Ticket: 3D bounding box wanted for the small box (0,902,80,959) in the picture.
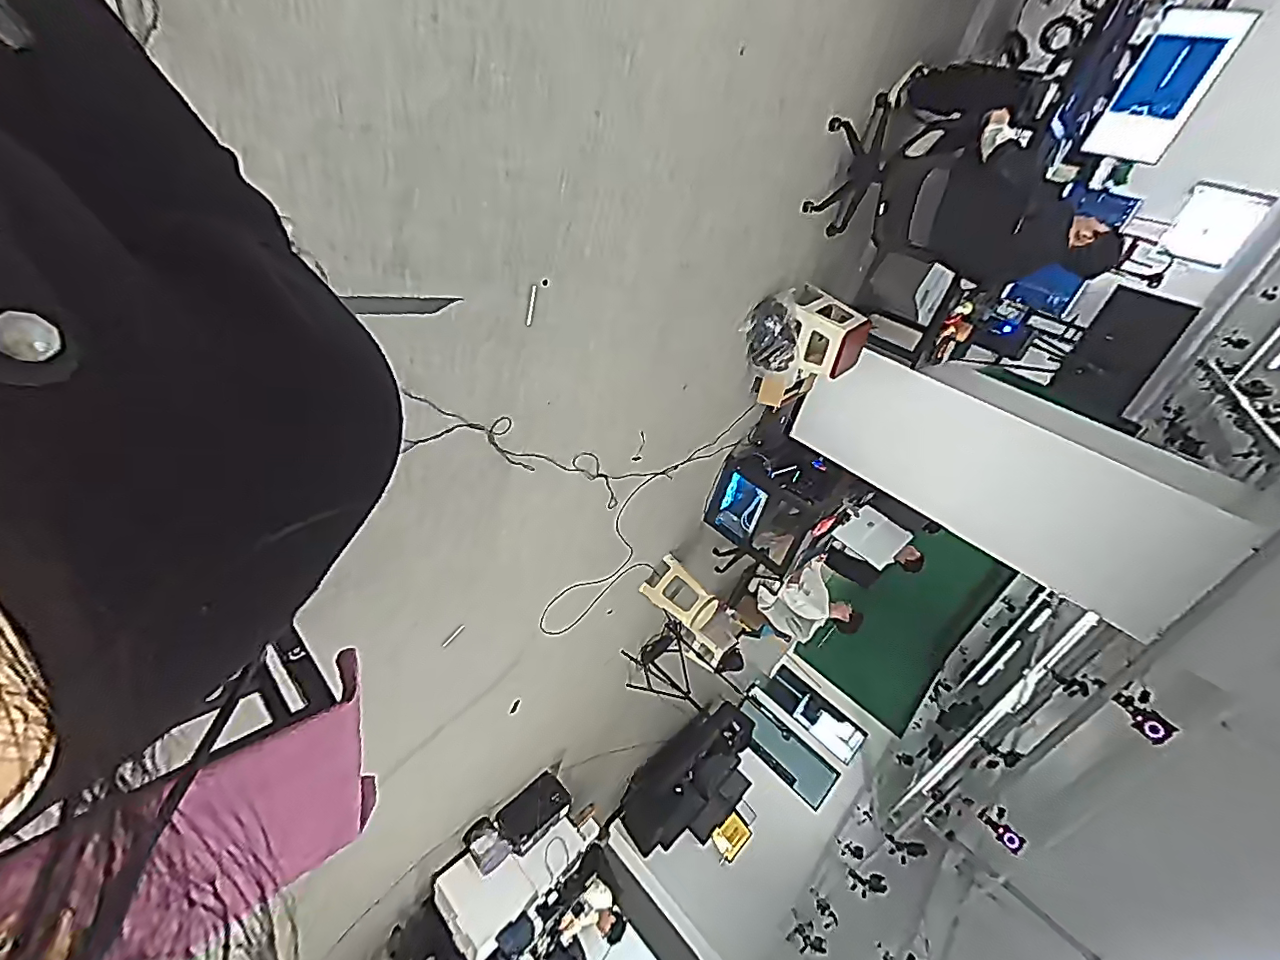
[{"bbox_3d":[-0.988,0.813,0.835,0.168,0.176,0.179,-19,136,-48],"label":"small box"}]
